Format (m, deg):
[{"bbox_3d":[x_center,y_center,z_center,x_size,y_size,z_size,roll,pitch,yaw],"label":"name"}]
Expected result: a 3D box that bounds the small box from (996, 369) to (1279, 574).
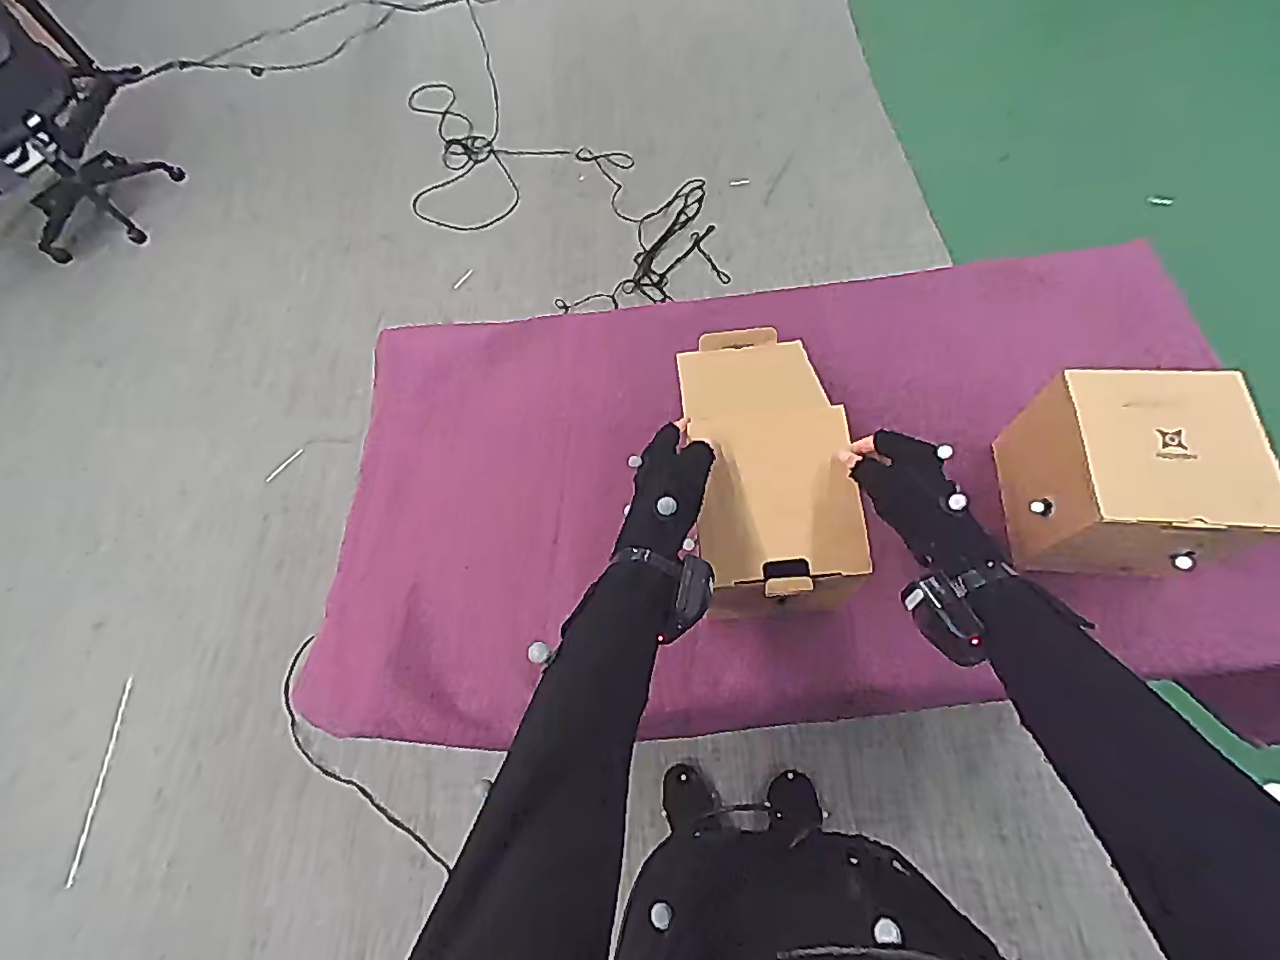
[{"bbox_3d":[0.530,-0.002,0.600,0.168,0.176,0.179,3,65,9],"label":"small box"}]
